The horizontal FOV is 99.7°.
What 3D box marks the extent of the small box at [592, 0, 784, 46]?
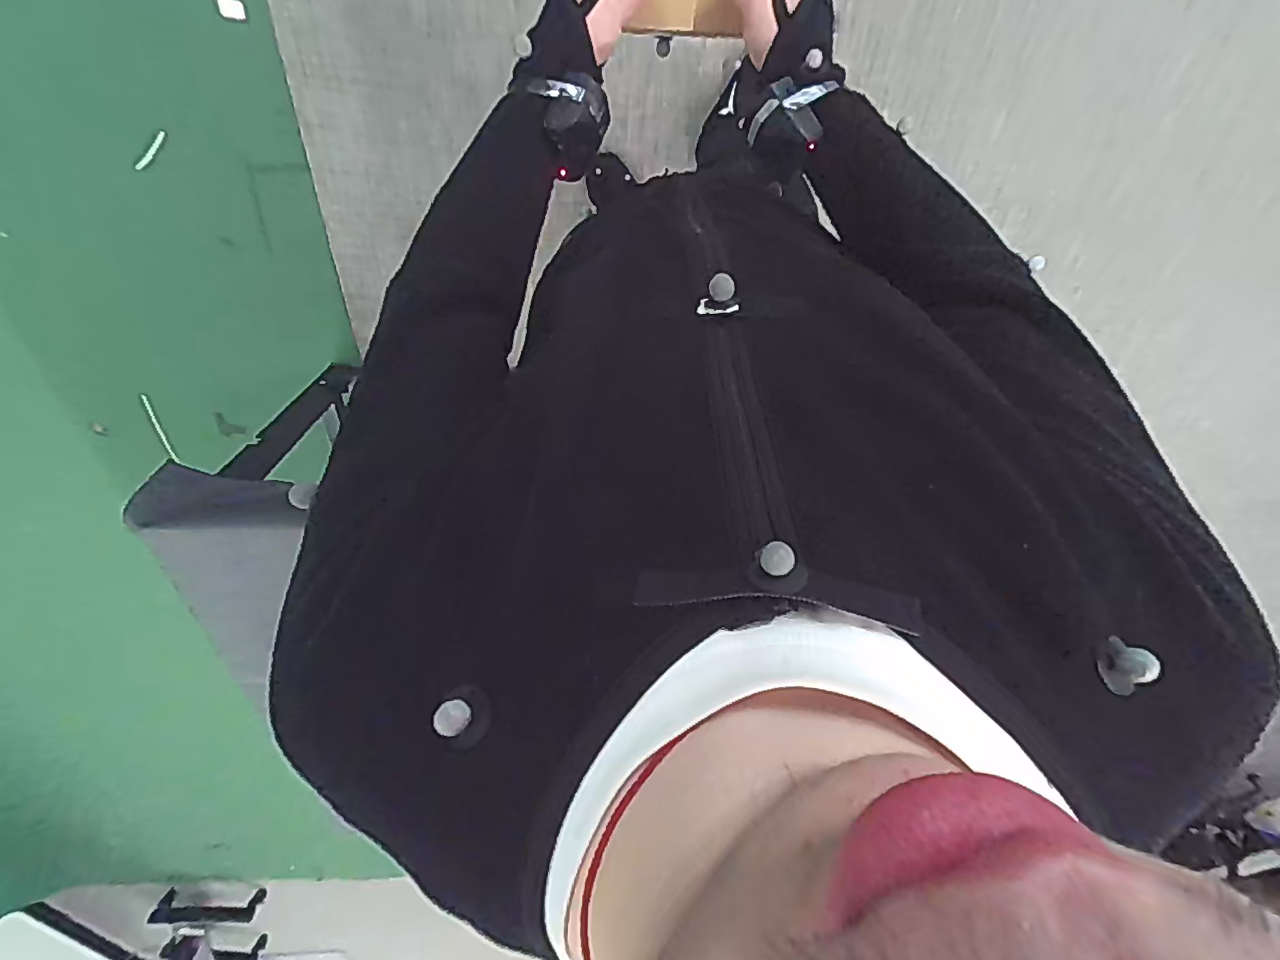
[{"bbox_3d":[0.045,-0.507,0.482,0.168,0.176,0.179,3,128,-3],"label":"small box"}]
